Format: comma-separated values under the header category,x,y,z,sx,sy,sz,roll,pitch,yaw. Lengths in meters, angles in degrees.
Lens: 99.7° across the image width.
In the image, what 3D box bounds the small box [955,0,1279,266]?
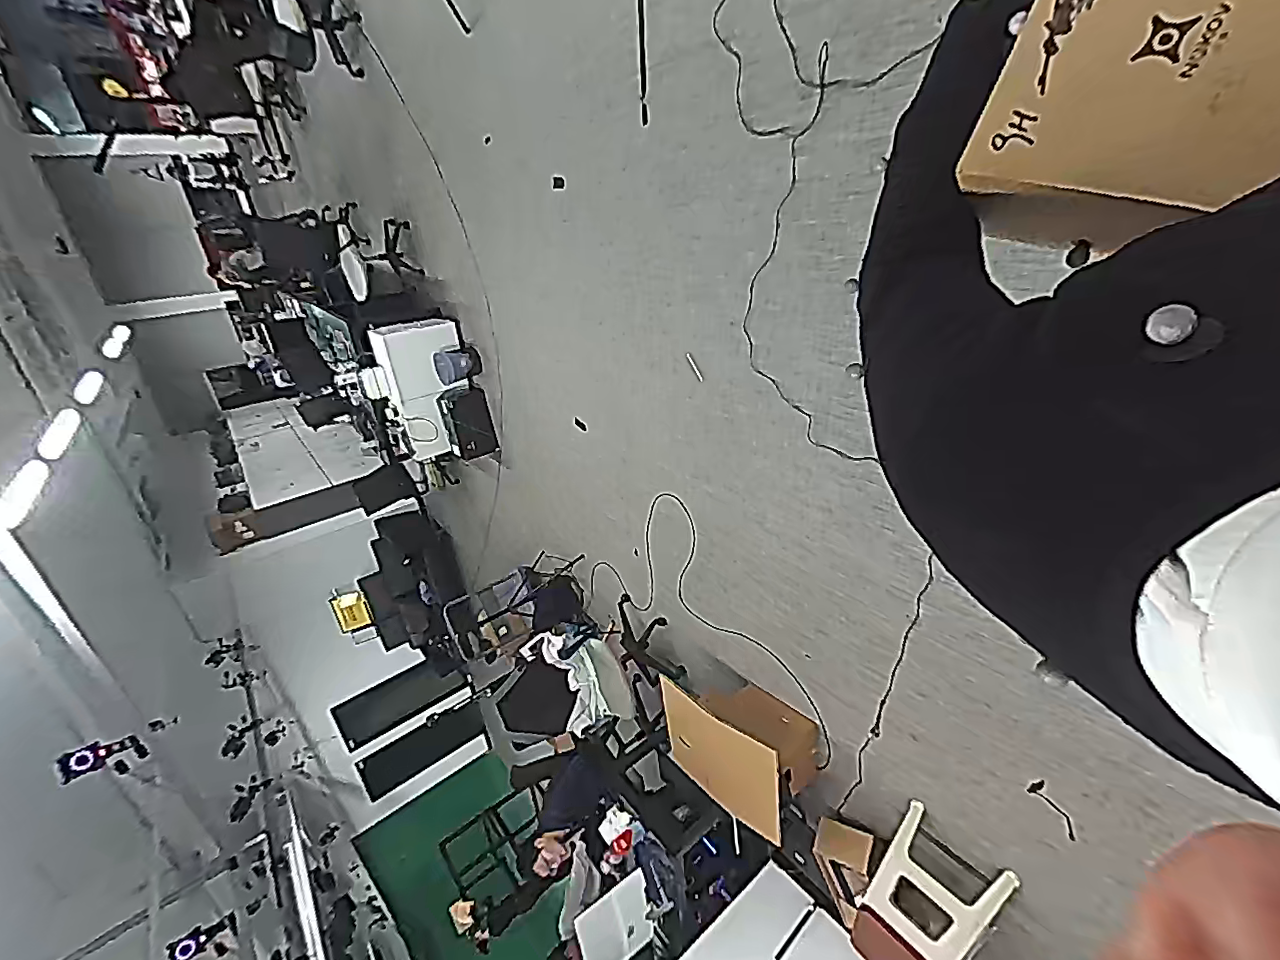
category,x,y,z,sx,sy,sz,roll,pitch,yaw
small box,0.359,-0.264,0.380,0.179,0.176,0.168,31,113,29
